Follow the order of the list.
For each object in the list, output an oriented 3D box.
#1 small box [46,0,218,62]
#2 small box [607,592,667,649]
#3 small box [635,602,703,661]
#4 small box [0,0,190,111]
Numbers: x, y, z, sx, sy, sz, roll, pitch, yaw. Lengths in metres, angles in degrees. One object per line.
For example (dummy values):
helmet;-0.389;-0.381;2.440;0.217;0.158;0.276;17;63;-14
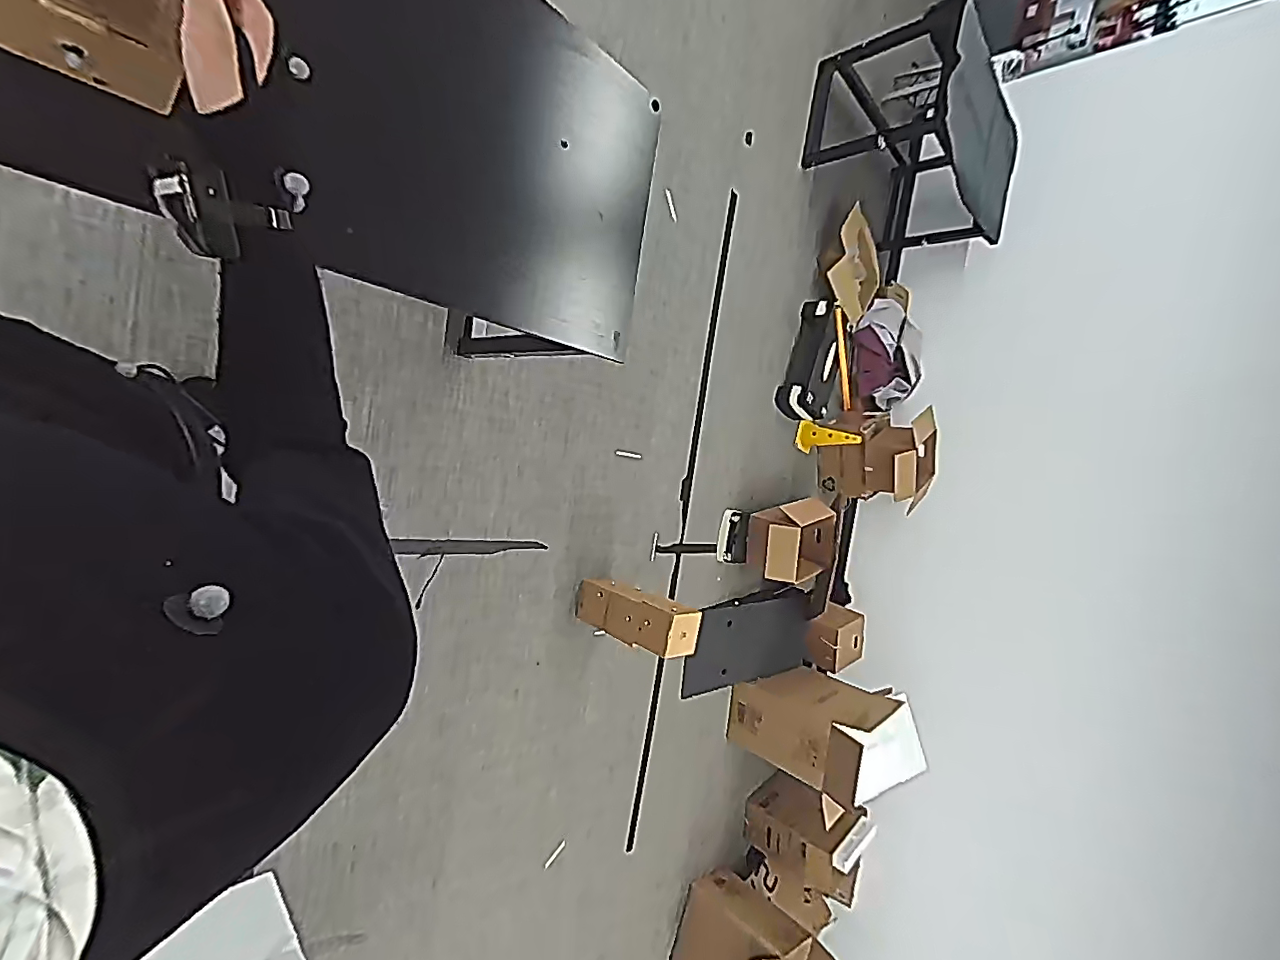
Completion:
small box;-0.446;-0.500;0.436;0.168;0.176;0.179;5;95;-46
small box;-0.013;0.553;2.159;0.168;0.176;0.179;7;95;-47
small box;0.109;0.568;2.052;0.179;0.176;0.168;10;92;-46
small box;-0.564;-0.521;0.549;0.168;0.176;0.179;4;96;-47
